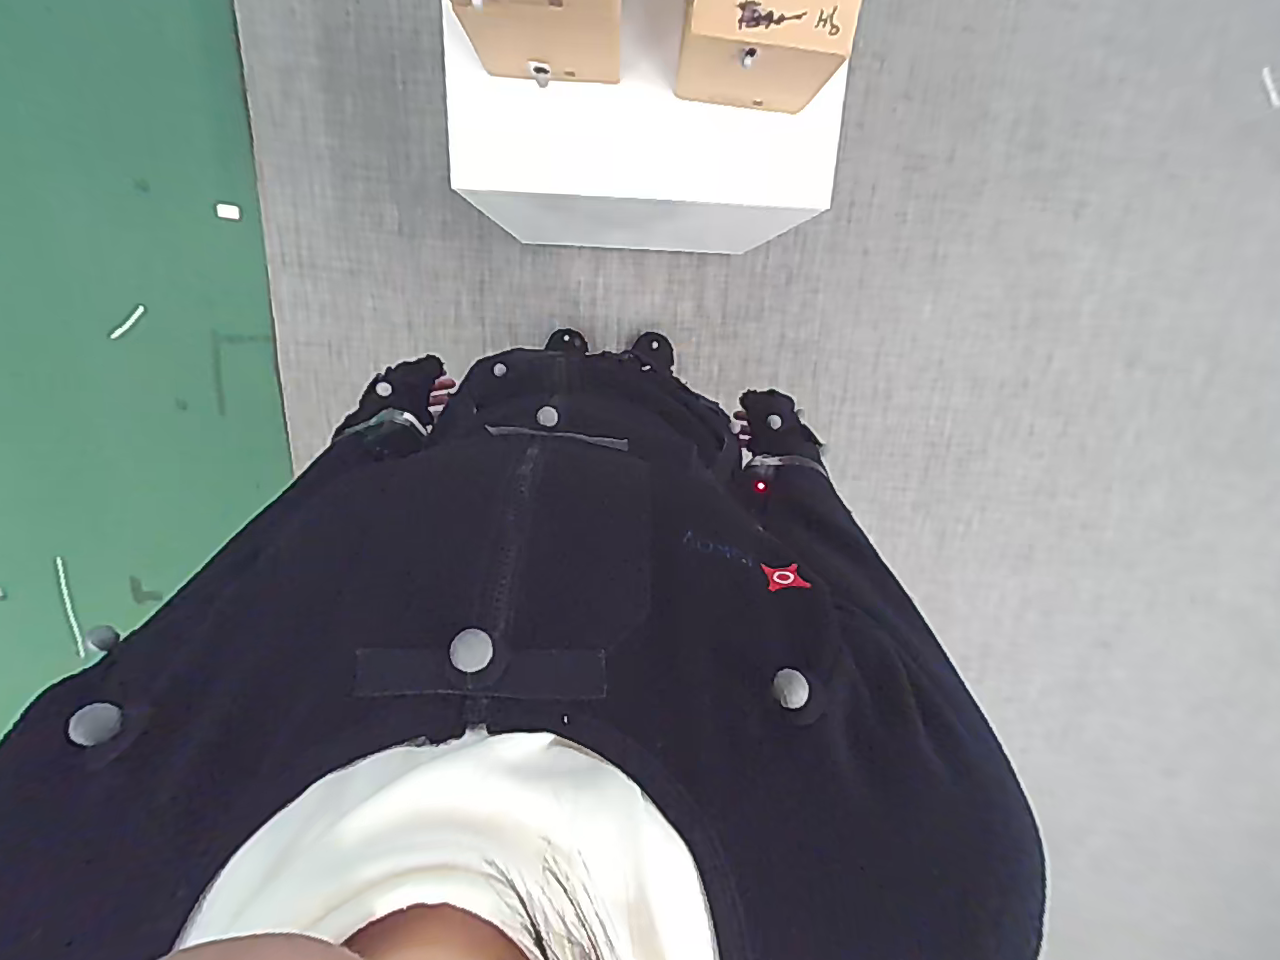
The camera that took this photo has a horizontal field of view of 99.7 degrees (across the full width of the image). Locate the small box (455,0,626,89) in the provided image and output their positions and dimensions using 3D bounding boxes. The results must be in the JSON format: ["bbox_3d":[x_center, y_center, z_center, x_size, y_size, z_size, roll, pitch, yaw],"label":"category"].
[{"bbox_3d":[-0.100,-0.561,0.587,0.168,0.176,0.179,1,108,-1],"label":"small box"}]

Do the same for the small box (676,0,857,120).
[{"bbox_3d":[0.136,-0.538,0.599,0.168,0.176,0.179,6,106,-3],"label":"small box"}]

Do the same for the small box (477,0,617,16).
[{"bbox_3d":[-0.096,-0.516,0.429,0.168,0.176,0.179,3,105,-2],"label":"small box"}]
